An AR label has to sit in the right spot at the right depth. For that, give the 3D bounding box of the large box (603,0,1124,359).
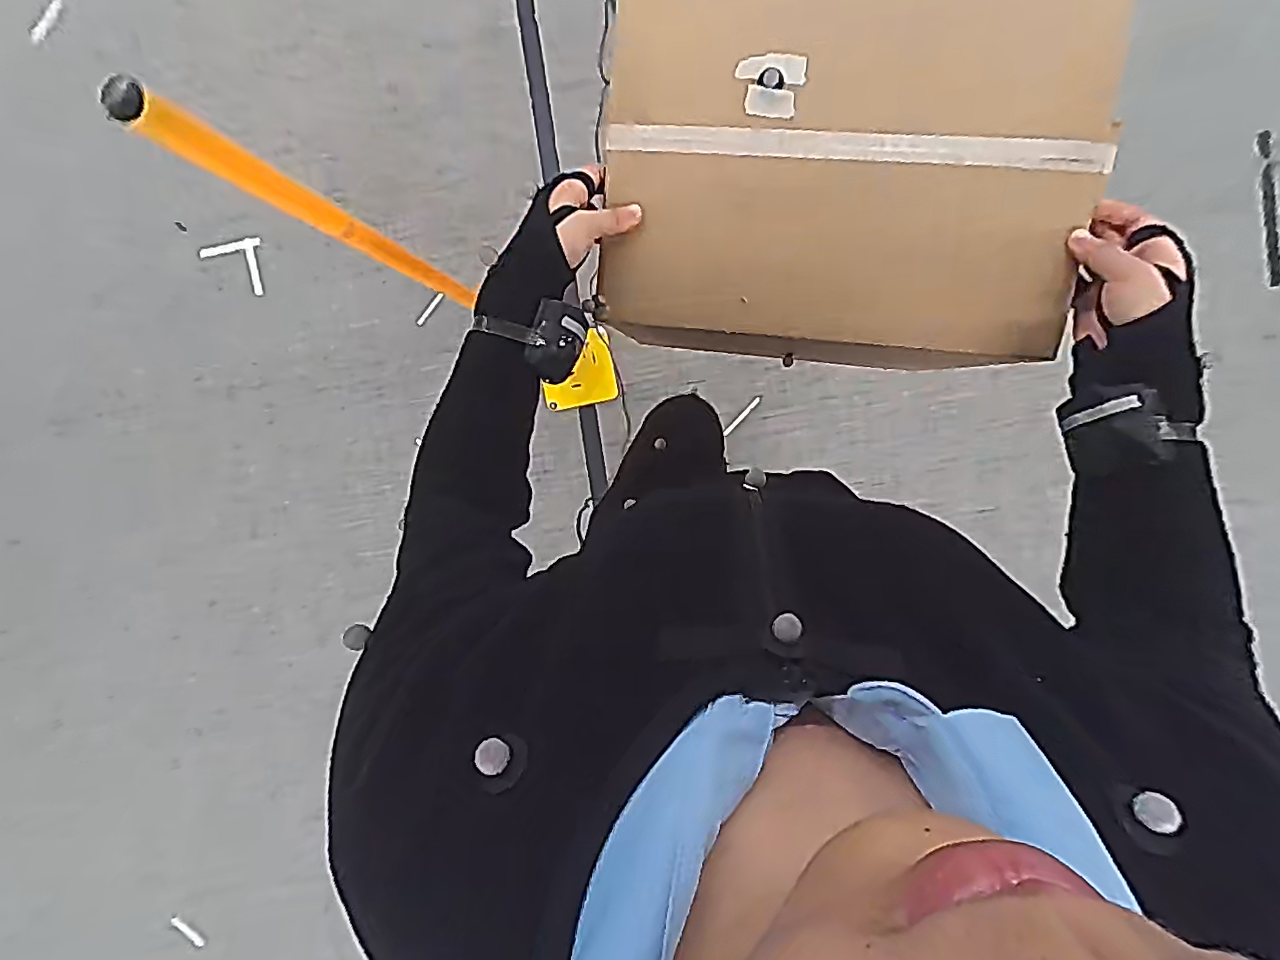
[{"bbox_3d":[0.195,-0.310,0.610,0.408,0.320,0.320,7,100,8],"label":"large box"}]
